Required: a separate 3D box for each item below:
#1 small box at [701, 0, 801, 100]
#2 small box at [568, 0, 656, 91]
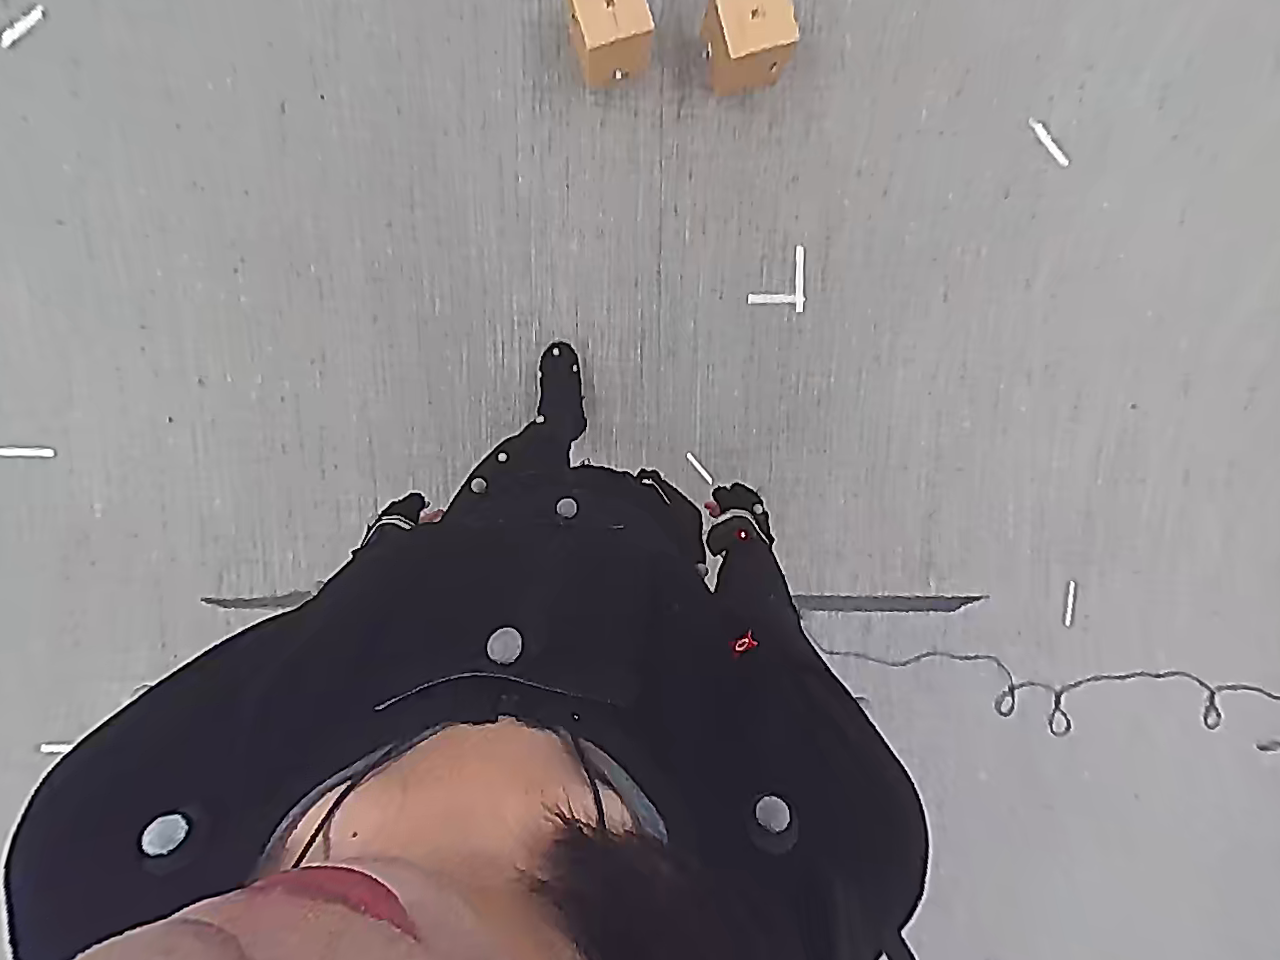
[{"bbox_3d":[0.266,-1.084,1.328,0.179,0.176,0.168,-18,96,-2],"label":"small box"},{"bbox_3d":[-0.073,-1.093,1.300,0.168,0.176,0.179,-19,98,-2],"label":"small box"}]
